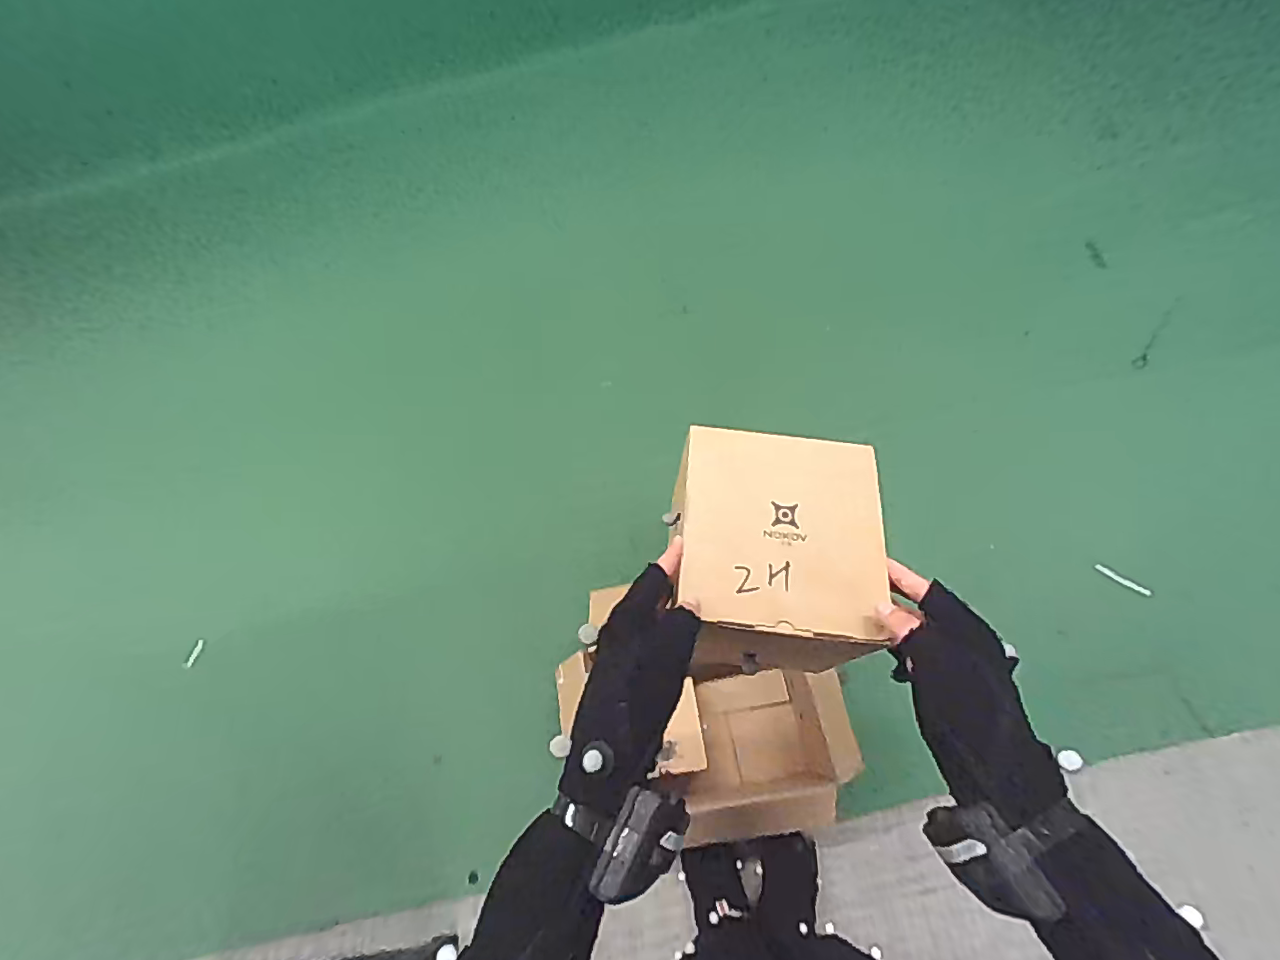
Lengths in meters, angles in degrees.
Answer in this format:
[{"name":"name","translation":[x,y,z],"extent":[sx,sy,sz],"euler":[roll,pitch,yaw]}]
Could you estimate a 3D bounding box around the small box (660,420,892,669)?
[{"name":"small box","translation":[0.111,0.068,0.508],"extent":[0.168,0.176,0.179],"euler":[6,64,1]}]
